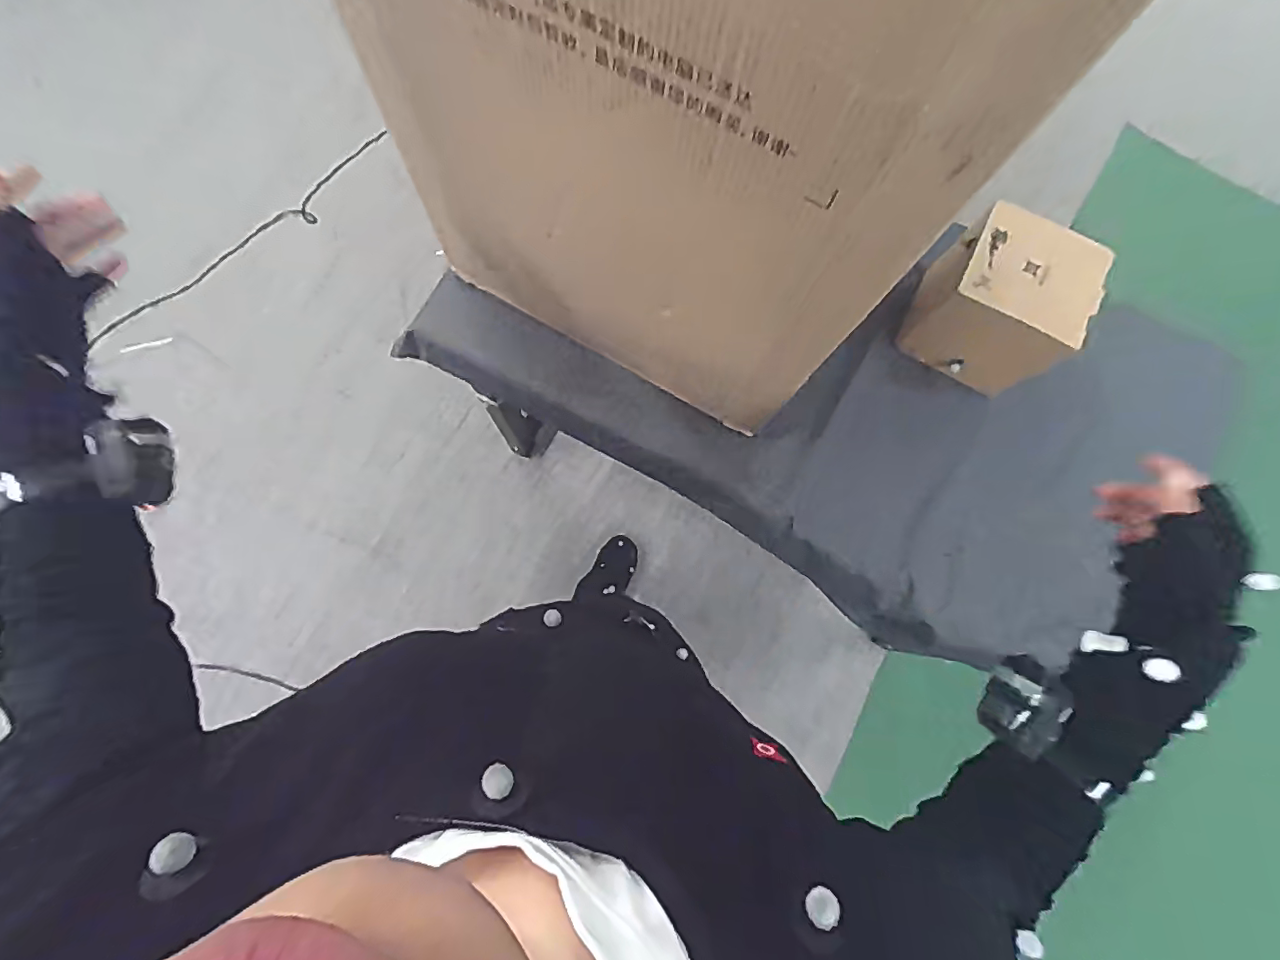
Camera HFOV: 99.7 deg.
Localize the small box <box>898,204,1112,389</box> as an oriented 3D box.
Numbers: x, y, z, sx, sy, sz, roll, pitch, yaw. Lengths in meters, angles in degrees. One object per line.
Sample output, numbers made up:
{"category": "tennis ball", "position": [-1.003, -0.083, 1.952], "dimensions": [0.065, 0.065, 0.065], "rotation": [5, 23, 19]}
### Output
{"category": "small box", "position": [0.527, -0.257, 0.803], "dimensions": [0.179, 0.176, 0.168], "rotation": [28, 77, 4]}
